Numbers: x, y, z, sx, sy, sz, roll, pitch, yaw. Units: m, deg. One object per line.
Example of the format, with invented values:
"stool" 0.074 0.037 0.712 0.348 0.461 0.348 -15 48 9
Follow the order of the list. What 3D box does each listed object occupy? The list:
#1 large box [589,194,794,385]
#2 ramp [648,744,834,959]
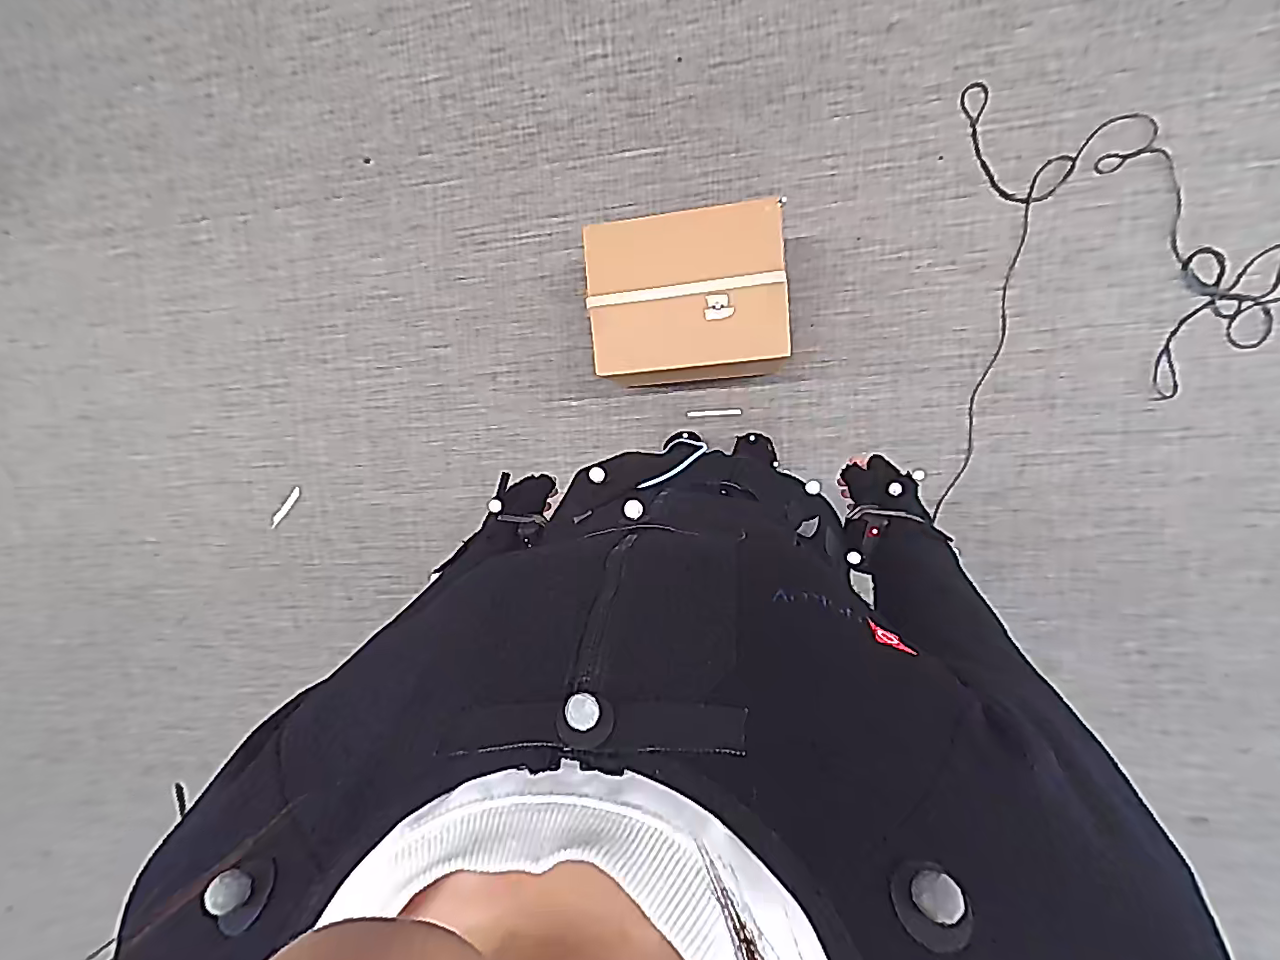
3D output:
"large box" 0.124 -0.407 1.252 0.408 0.320 0.320 -4 95 10
"ramp" 0.261 1.241 1.446 0.509 0.206 0.991 -2 95 12
